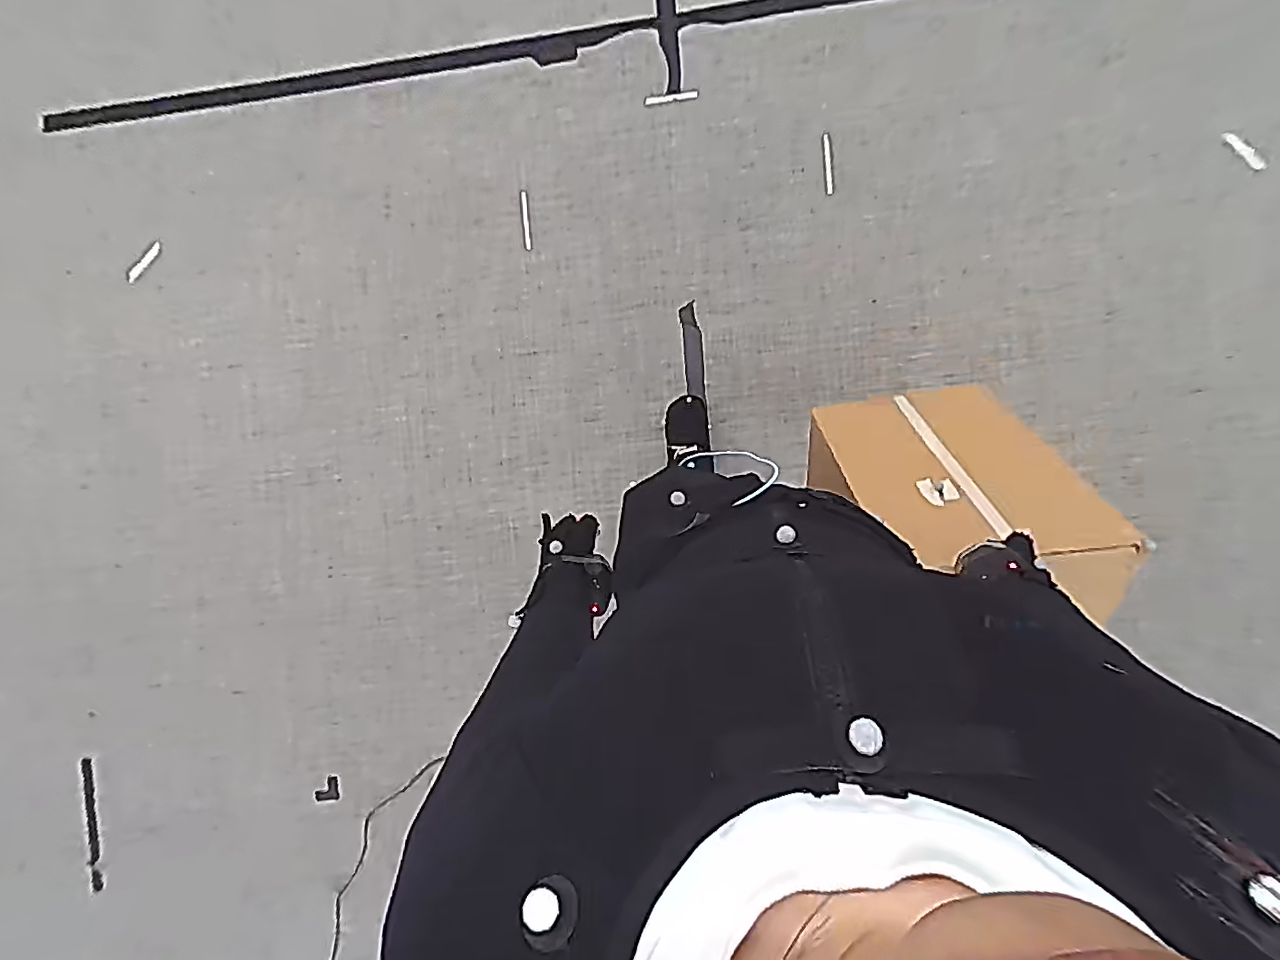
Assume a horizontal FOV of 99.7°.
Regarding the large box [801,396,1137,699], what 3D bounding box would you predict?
[{"bbox_3d":[0.484,0.102,0.927,0.320,0.408,0.320,-7,128,5],"label":"large box"}]
